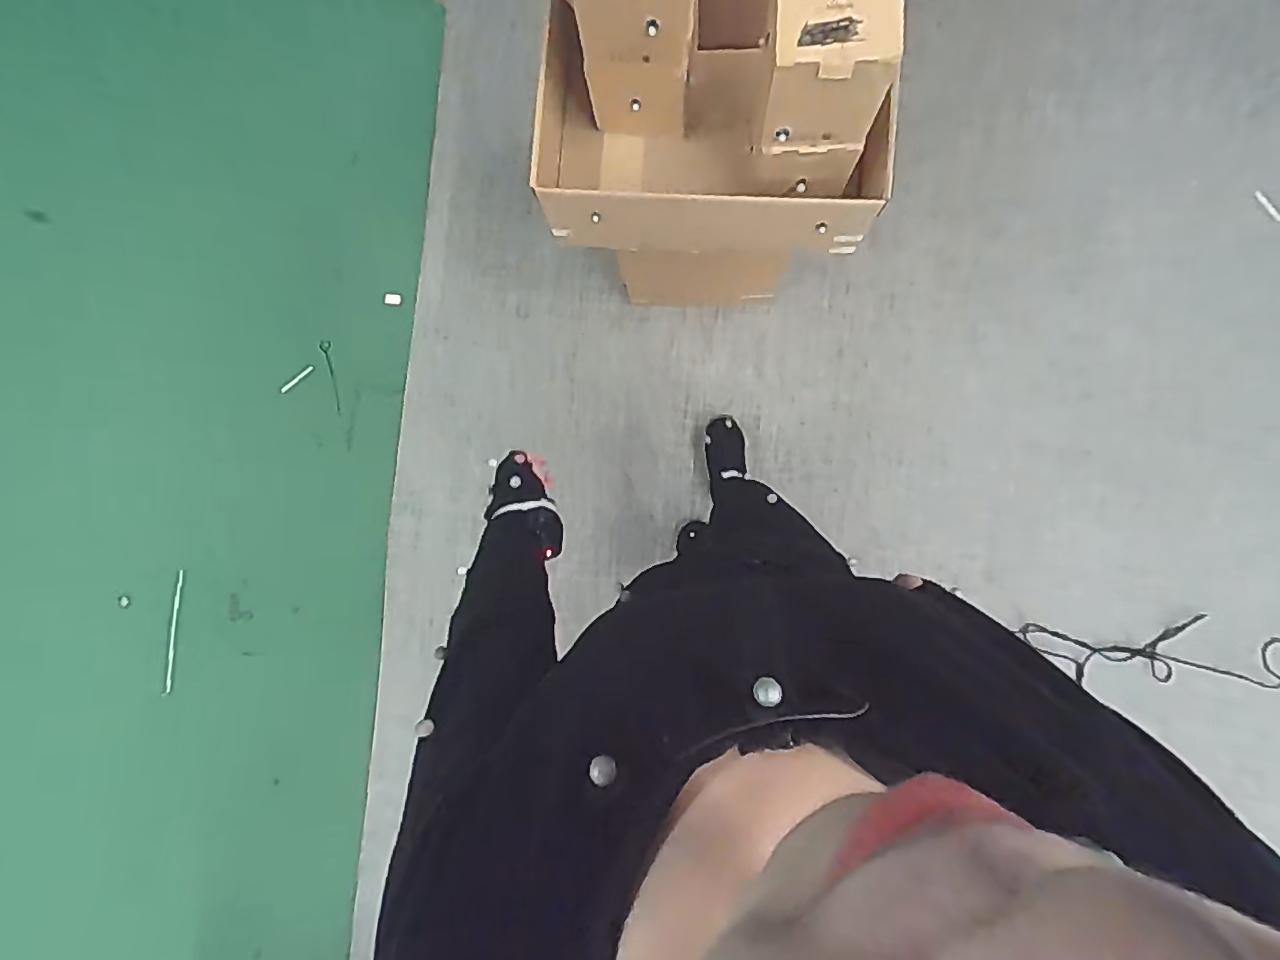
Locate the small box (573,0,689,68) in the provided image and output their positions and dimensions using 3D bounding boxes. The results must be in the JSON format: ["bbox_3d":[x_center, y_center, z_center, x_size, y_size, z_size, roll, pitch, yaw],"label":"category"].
[{"bbox_3d":[-0.007,-0.777,0.825,0.168,0.176,0.179,7,88,3],"label":"small box"}]

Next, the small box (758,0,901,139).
[{"bbox_3d":[0.269,-0.635,0.795,0.168,0.176,0.179,2,88,5],"label":"small box"}]
